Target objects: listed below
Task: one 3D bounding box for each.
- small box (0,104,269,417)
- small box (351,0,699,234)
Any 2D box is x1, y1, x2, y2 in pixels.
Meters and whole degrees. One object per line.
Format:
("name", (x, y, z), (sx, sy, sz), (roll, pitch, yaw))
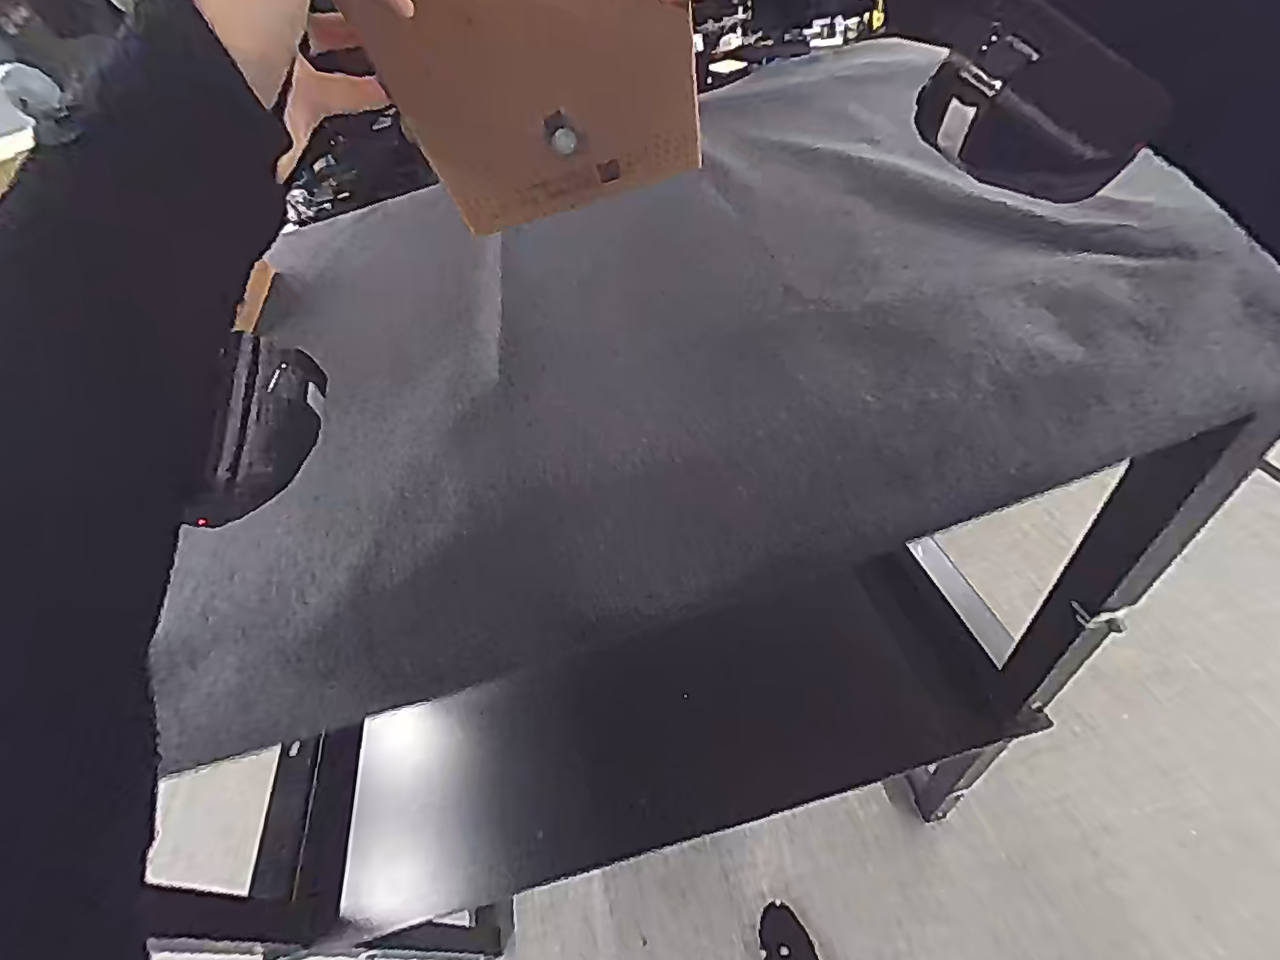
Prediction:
("small box", (-0.455, -0.184, 0.458), (0.168, 0.176, 0.179), (-22, 47, -4))
("small box", (-0.066, -0.292, 0.330), (0.168, 0.176, 0.179), (-15, 68, 5))
